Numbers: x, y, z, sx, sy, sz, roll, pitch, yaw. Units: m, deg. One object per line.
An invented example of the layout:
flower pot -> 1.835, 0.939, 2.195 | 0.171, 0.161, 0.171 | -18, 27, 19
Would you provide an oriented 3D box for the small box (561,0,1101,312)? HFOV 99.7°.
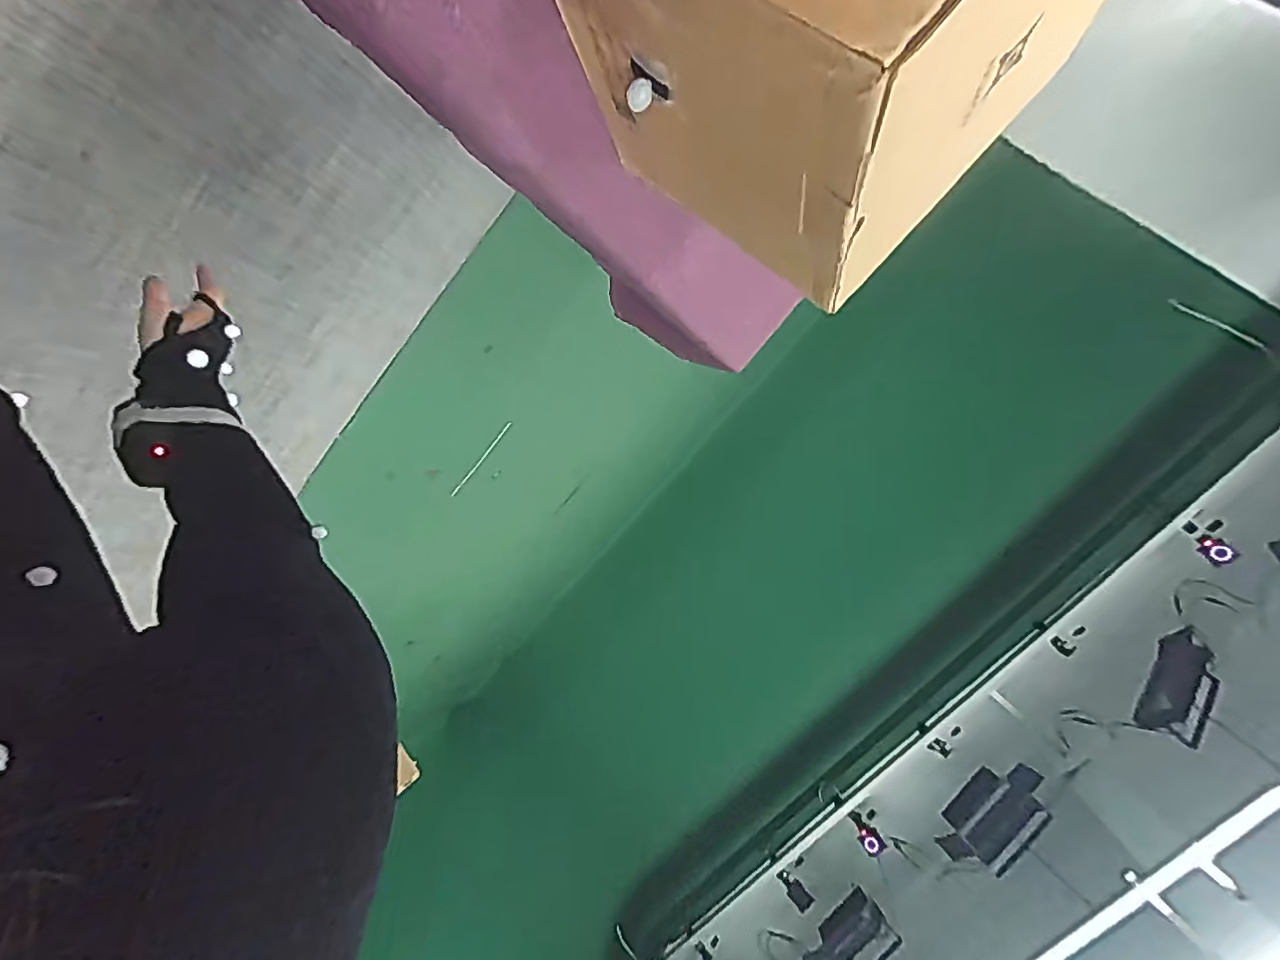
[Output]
small box -> 0.085, -0.216, 0.233 | 0.179, 0.176, 0.168 | -47, 166, 7
